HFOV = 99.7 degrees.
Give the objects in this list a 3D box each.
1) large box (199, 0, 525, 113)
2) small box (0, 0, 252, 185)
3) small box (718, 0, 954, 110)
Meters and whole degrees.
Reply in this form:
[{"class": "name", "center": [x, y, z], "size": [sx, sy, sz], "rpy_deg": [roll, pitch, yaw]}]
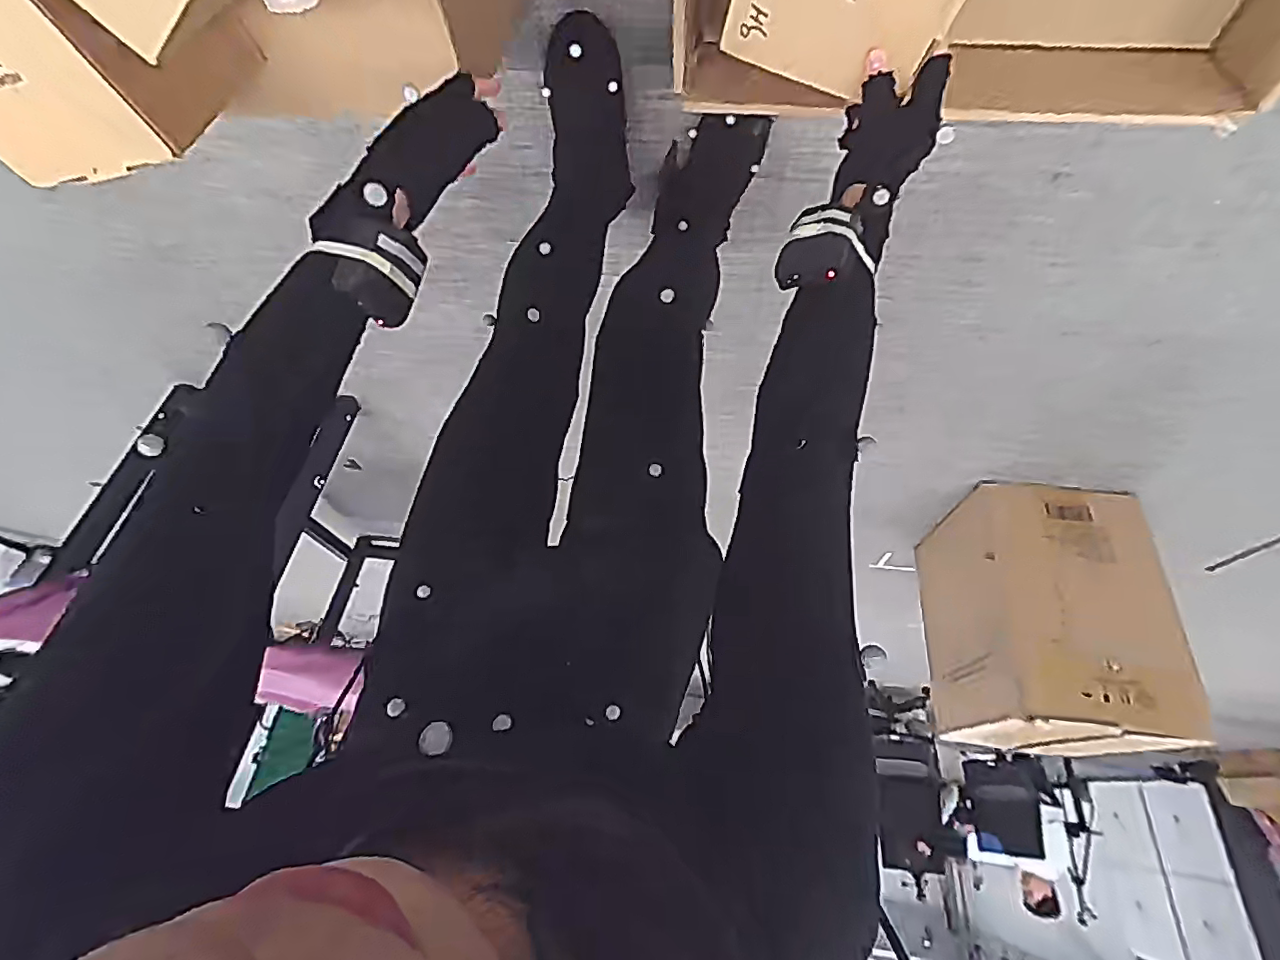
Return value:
[{"class": "large box", "center": [-0.348, -0.589, 0.499], "size": [0.408, 0.320, 0.320], "rpy_deg": [3, 151, 8]}, {"class": "small box", "center": [-0.460, -0.370, 0.419], "size": [0.168, 0.176, 0.179], "rpy_deg": [-2, 148, 14]}, {"class": "small box", "center": [0.189, -0.469, 0.466], "size": [0.179, 0.176, 0.168], "rpy_deg": [21, 149, 1]}]
